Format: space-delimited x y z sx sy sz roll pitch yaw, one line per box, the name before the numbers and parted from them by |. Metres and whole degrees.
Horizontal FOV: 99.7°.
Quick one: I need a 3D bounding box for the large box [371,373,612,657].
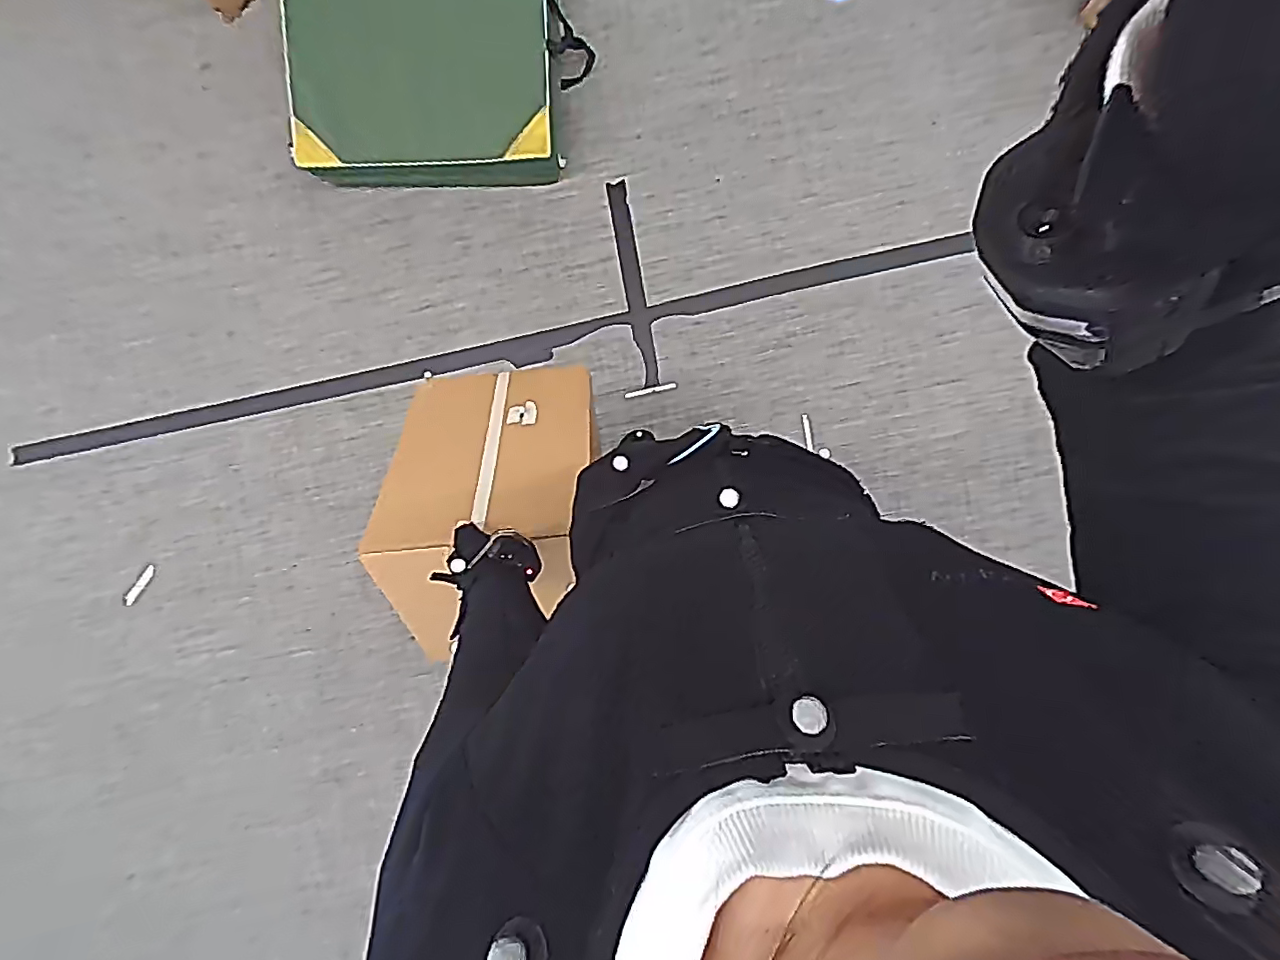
large box | -0.225 0.057 0.986 0.320 0.408 0.320 -5 134 0
